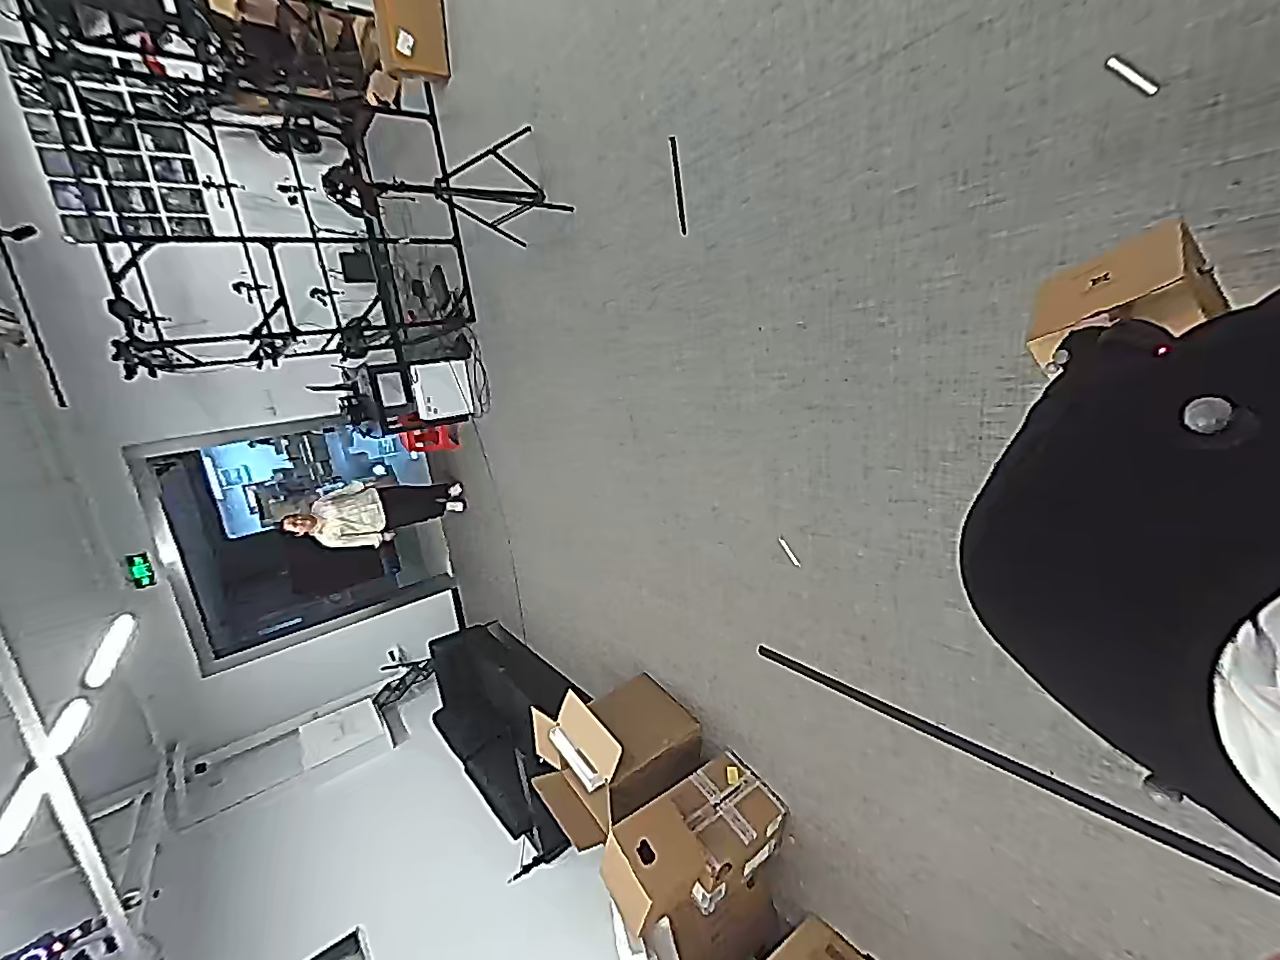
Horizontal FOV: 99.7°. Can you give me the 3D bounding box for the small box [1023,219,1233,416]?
[{"bbox_3d":[0.670,-0.209,0.746,0.176,0.179,0.168,46,147,-15],"label":"small box"}]
